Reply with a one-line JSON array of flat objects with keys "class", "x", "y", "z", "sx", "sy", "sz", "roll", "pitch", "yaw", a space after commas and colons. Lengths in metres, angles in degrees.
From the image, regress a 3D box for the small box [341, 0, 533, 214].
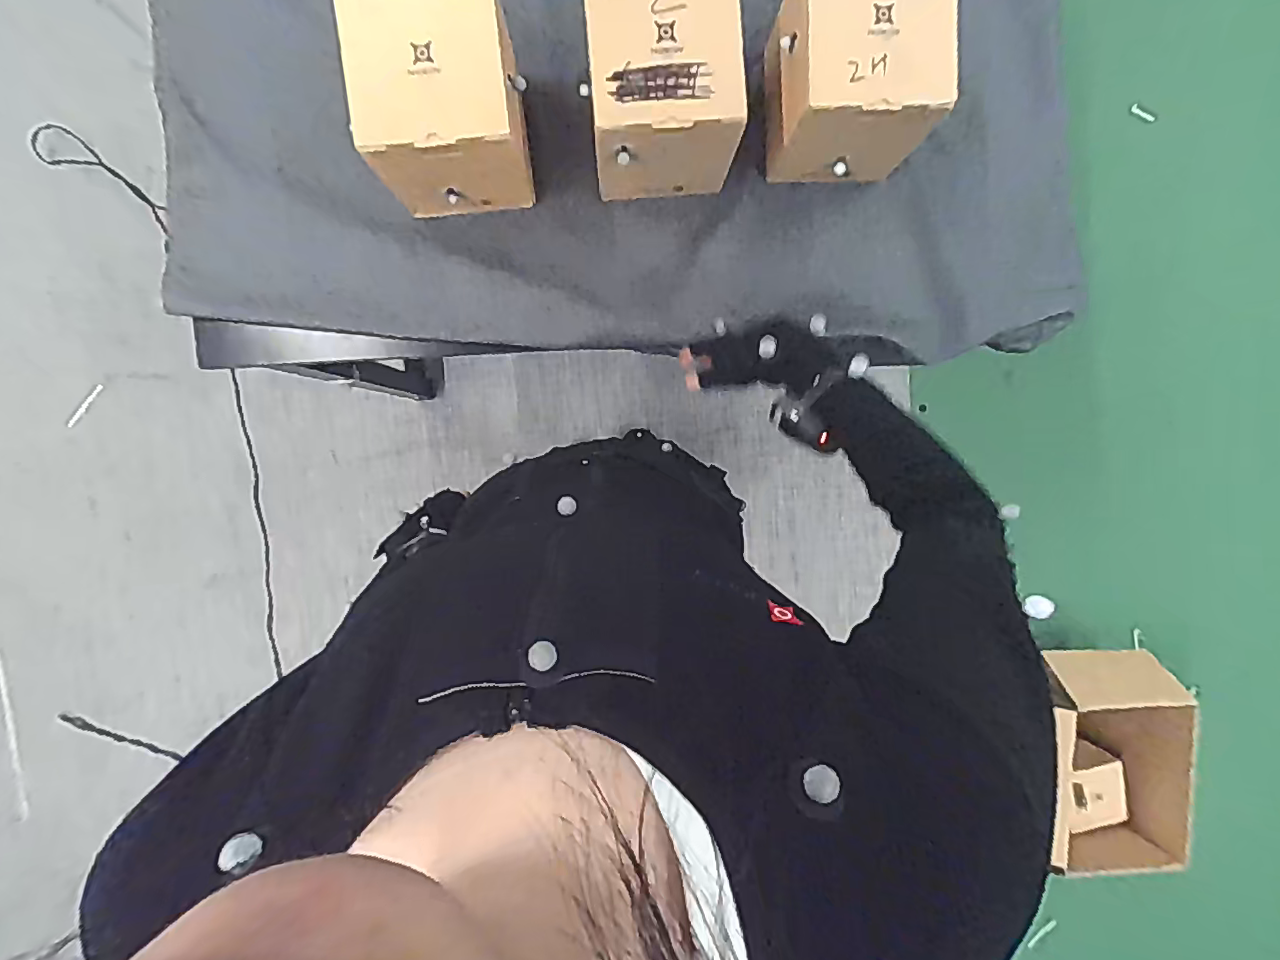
[{"class": "small box", "x": -0.230, "y": -0.450, "z": 0.653, "sx": 0.168, "sy": 0.176, "sz": 0.179, "roll": -7, "pitch": 94, "yaw": -2}]
